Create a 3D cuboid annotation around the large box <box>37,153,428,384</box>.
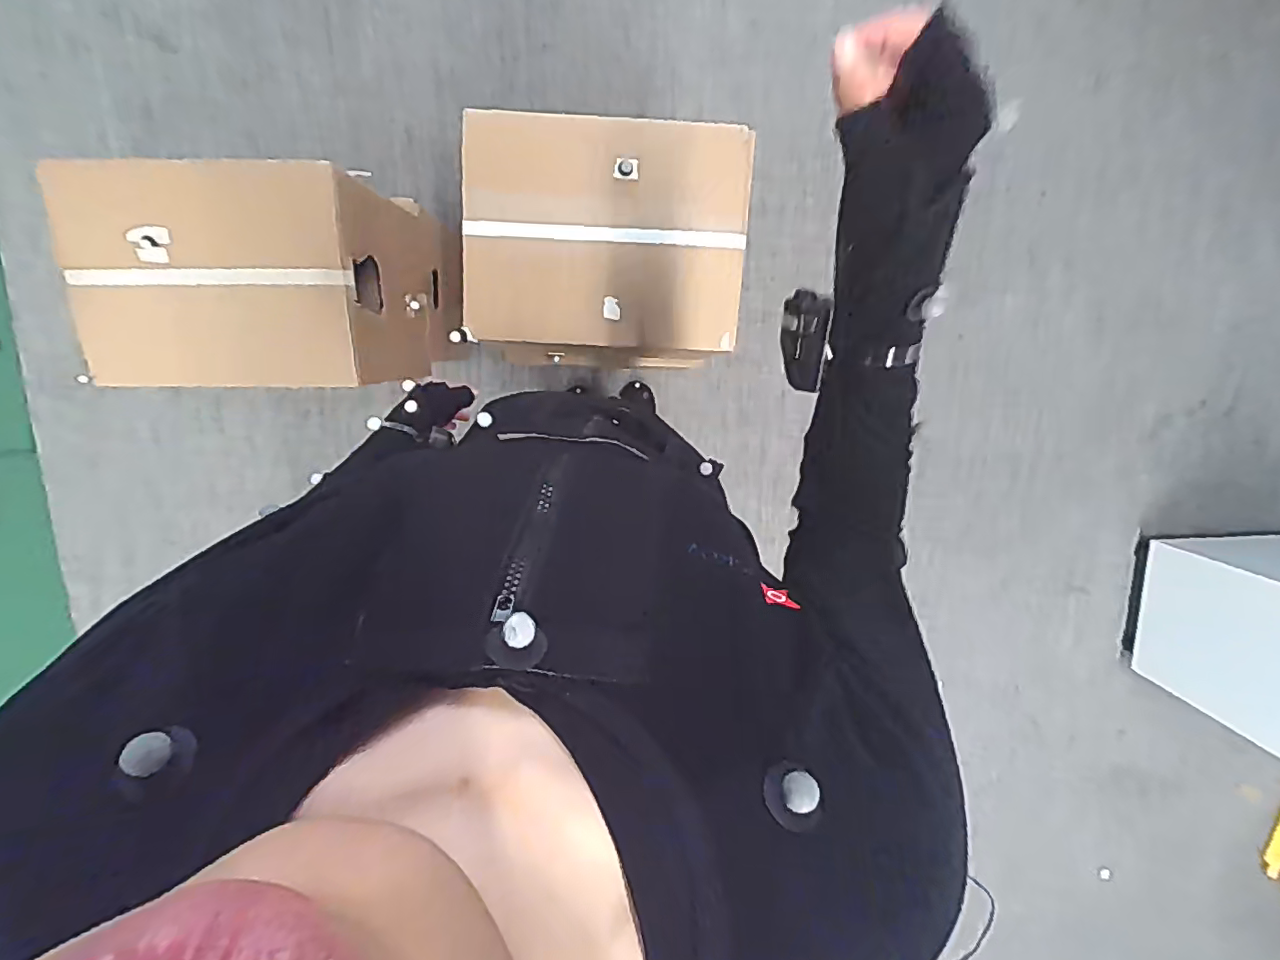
[{"bbox_3d":[-0.628,-0.336,0.922,0.408,0.320,0.320,0,104,0],"label":"large box"}]
